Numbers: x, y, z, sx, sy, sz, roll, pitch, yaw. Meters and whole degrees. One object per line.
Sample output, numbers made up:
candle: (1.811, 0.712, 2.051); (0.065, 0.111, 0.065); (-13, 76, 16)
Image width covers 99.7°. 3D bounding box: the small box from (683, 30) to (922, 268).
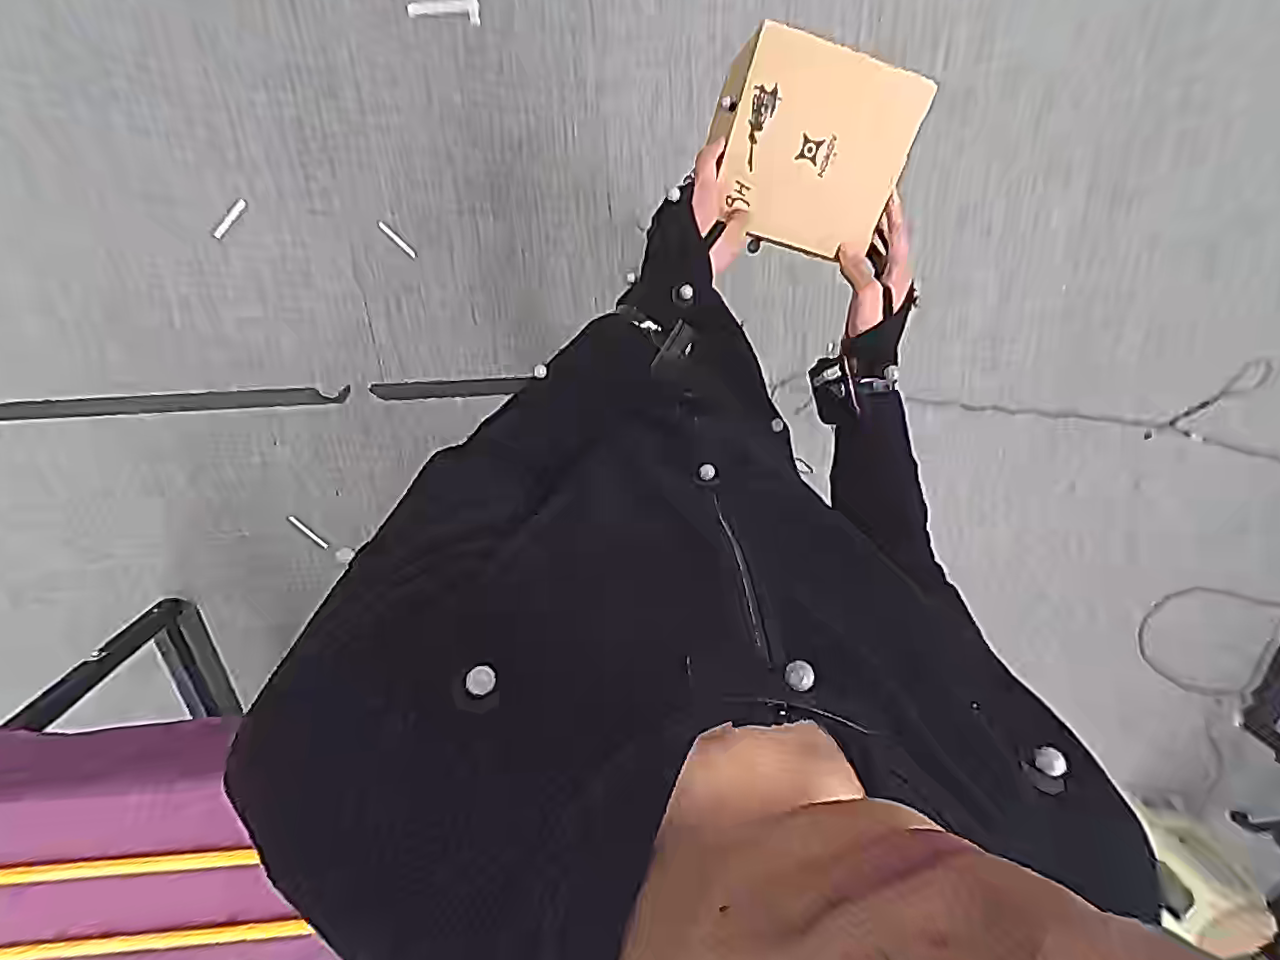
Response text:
small box: (0.160, -0.353, 0.602); (0.179, 0.176, 0.168); (13, 116, -9)
